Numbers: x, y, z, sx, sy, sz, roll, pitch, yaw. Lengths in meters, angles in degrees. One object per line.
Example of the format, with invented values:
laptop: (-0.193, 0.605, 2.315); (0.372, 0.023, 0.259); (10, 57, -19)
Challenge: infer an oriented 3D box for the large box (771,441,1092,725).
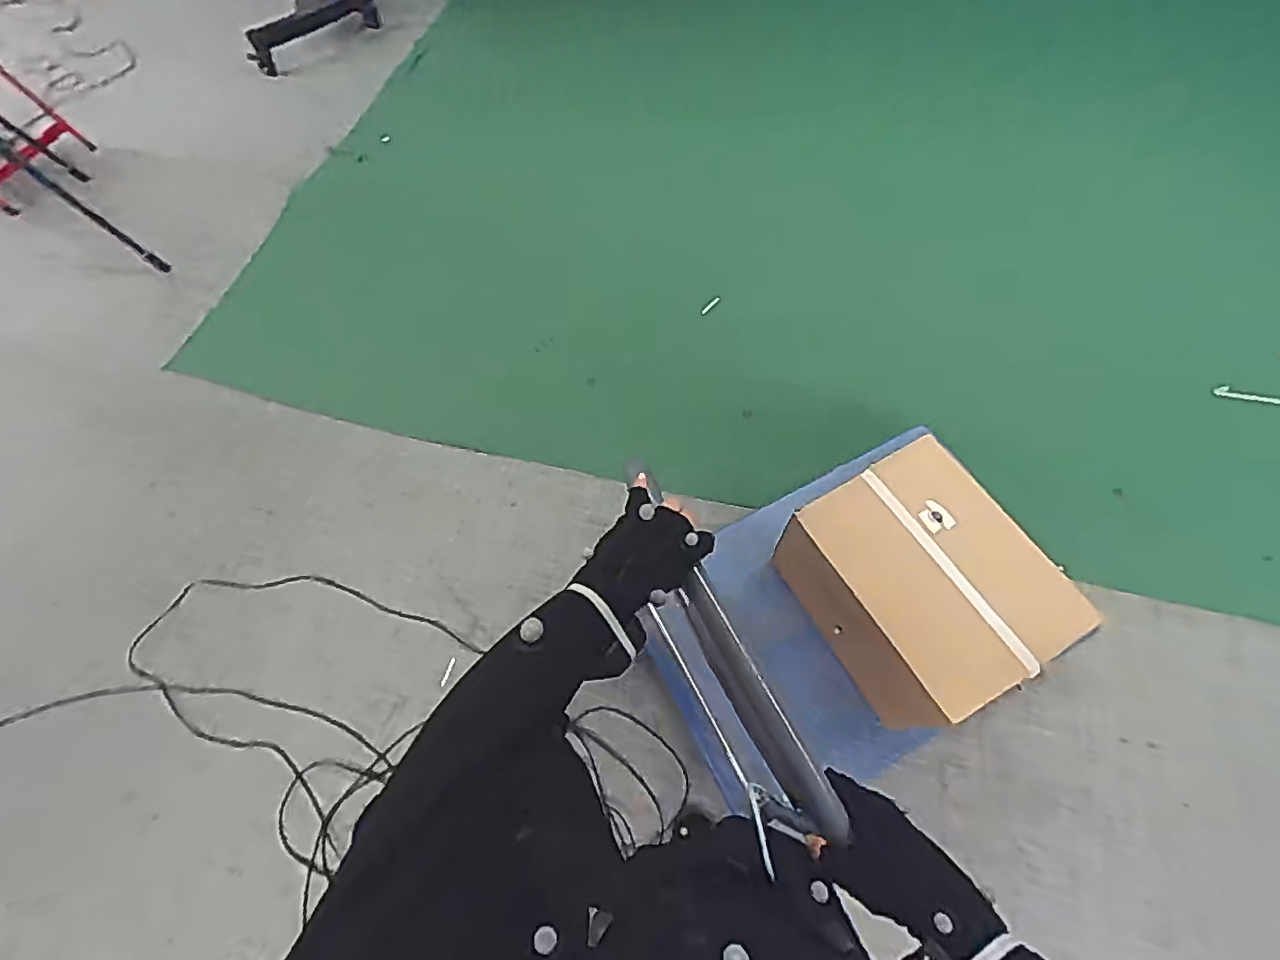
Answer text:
large box: (0.515, 0.209, 1.059); (0.320, 0.320, 0.408); (-29, 65, -9)
